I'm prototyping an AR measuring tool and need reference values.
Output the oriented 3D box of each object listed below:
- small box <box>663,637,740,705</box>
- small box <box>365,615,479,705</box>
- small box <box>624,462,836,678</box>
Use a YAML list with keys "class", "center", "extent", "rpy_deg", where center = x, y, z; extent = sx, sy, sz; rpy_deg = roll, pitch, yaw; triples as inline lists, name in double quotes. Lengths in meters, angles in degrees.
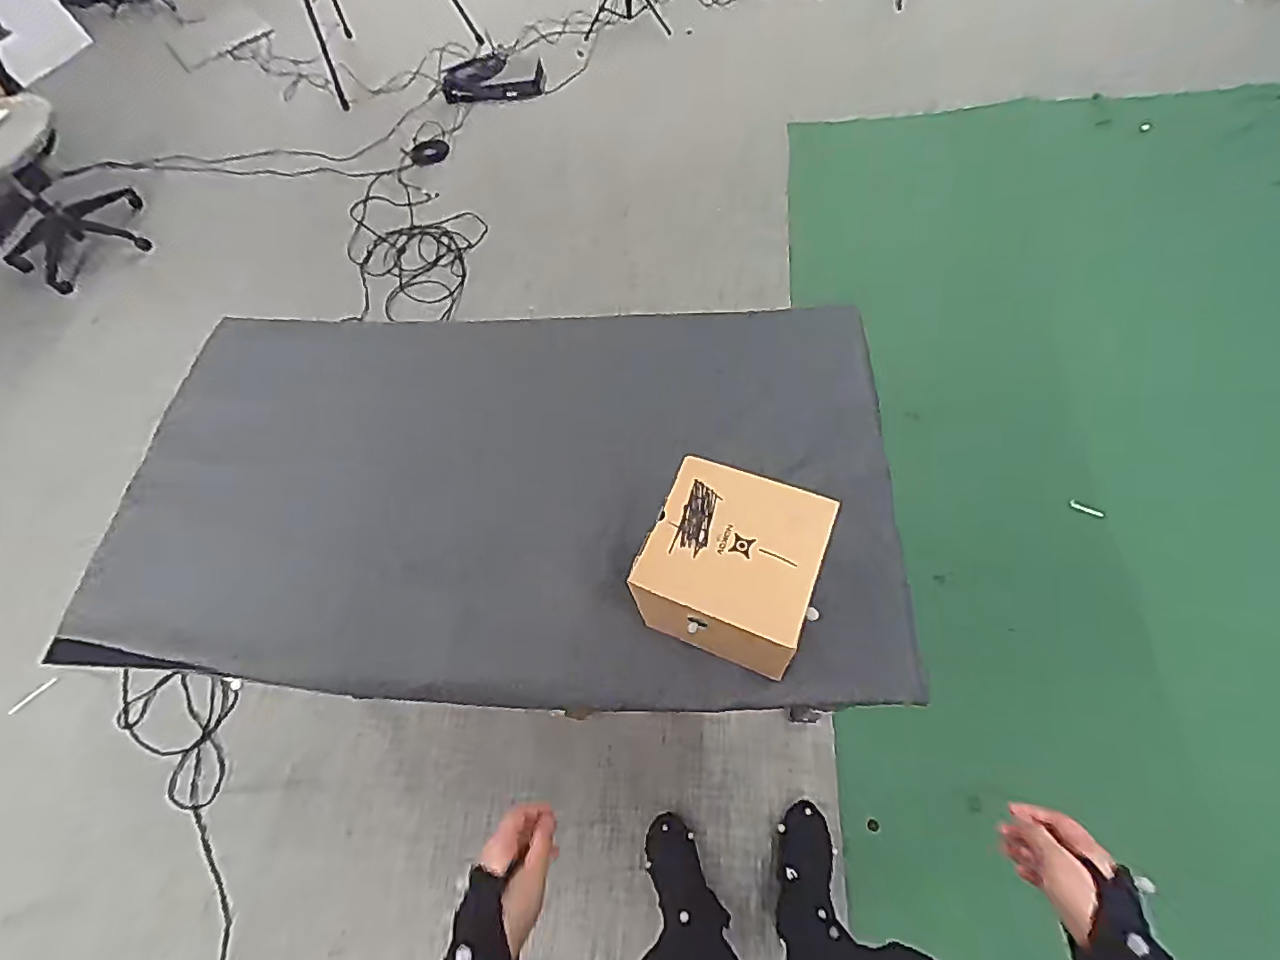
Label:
- class: "small box"
  center: [0.145, 0.436, 1.278]
  extent: [0.168, 0.176, 0.179]
  rpy_deg: [-5, 63, 5]
- class: "small box"
  center: [-0.543, 0.461, 1.372]
  extent: [0.179, 0.176, 0.168]
  rpy_deg: [10, 65, 15]
- class: "small box"
  center: [0.104, 0.109, 0.622]
  extent: [0.179, 0.176, 0.168]
  rpy_deg: [18, 65, 18]
